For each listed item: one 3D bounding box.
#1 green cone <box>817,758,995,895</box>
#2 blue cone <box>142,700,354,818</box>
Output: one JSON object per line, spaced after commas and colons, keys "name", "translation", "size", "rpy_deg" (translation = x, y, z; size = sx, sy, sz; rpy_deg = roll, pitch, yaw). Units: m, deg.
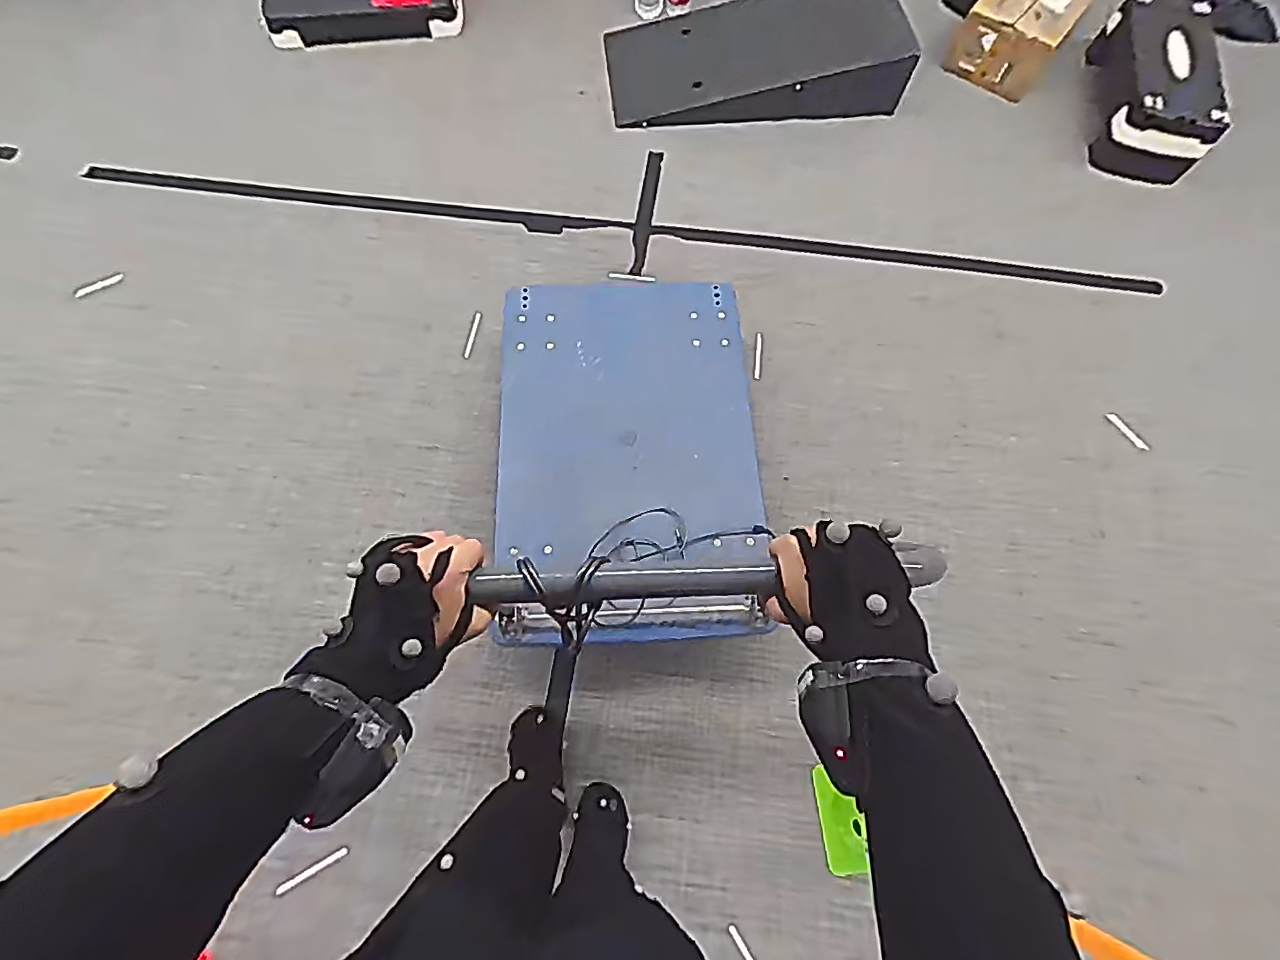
{"name": "green cone", "translation": [0.473, 0.622, 0.933], "size": [0.200, 0.368, 0.202], "rpy_deg": [-5, 70, -4]}
{"name": "blue cone", "translation": [-0.703, 0.510, 0.958], "size": [0.193, 0.380, 0.192], "rpy_deg": [22, 70, 7]}
